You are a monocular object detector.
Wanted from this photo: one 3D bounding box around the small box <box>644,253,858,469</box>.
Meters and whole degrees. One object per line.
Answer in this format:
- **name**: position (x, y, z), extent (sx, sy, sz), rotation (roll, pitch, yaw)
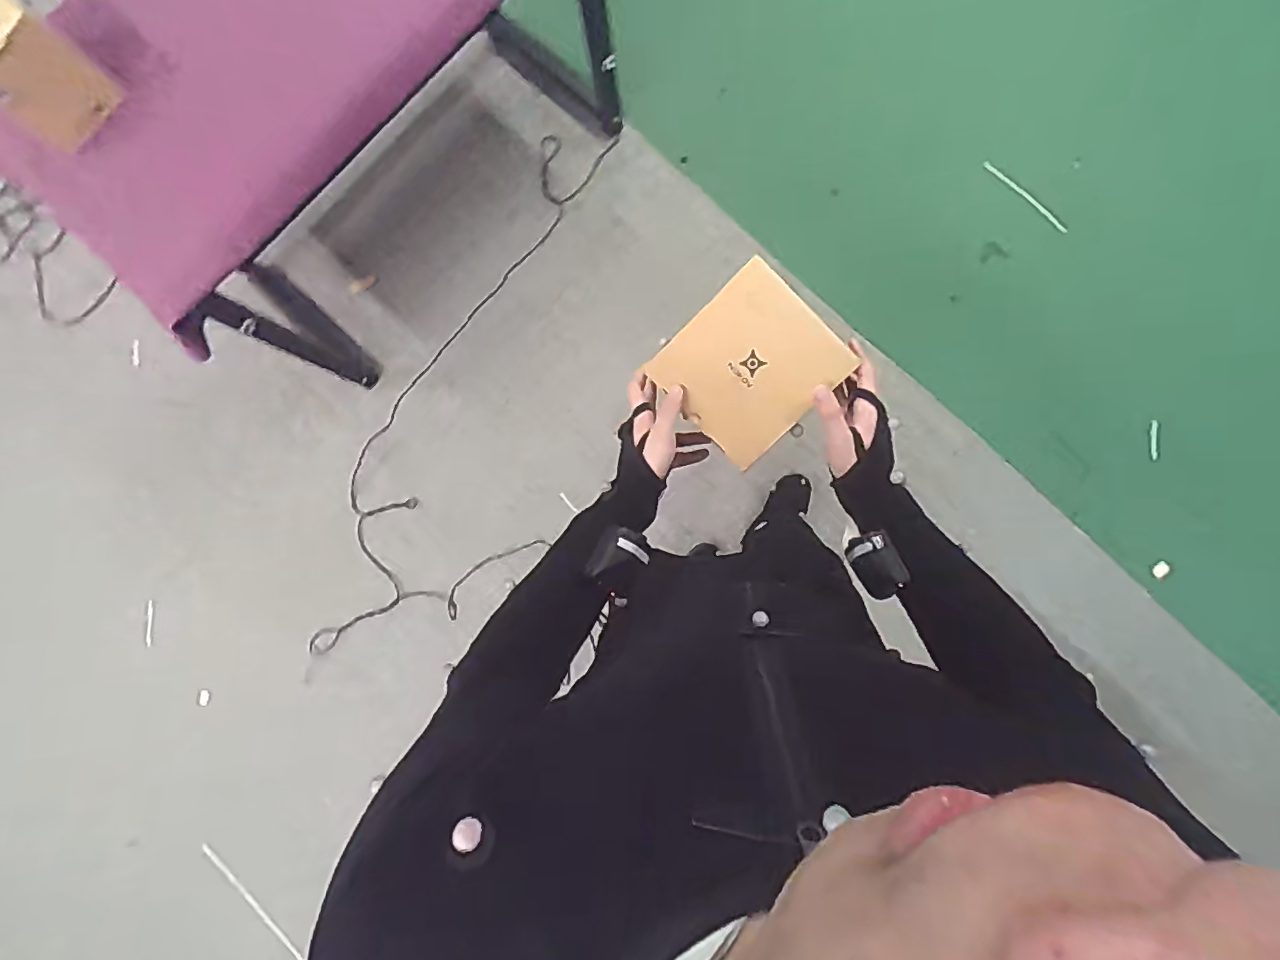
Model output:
- **small box**: position (0.128, -0.139, 0.666), extent (0.168, 0.176, 0.179), rotation (44, 103, 0)
